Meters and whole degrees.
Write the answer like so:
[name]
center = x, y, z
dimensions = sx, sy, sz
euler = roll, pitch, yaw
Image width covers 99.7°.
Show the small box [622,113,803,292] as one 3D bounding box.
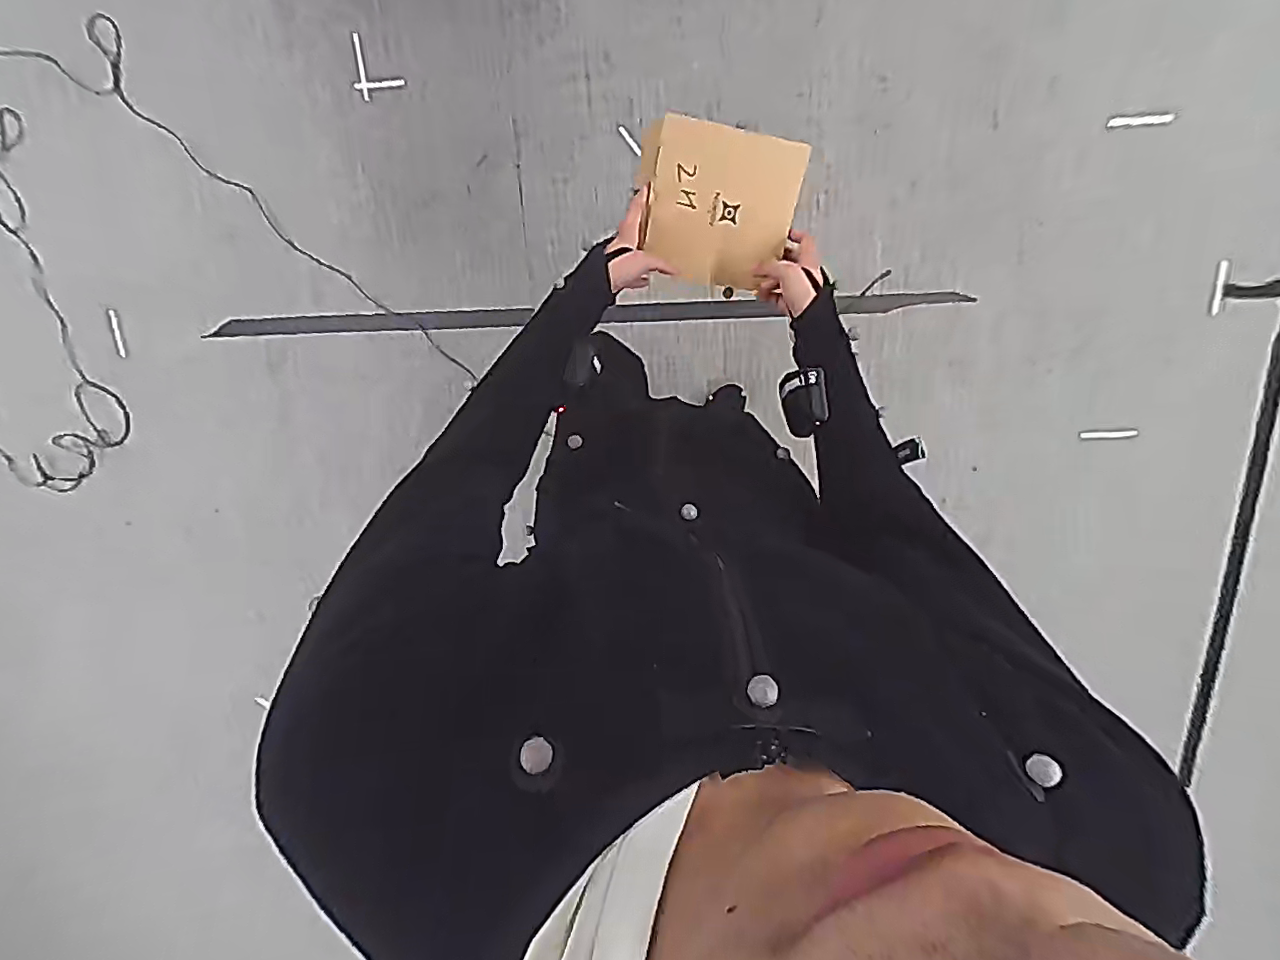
[small box]
center = 0.079, -0.353, 0.700
dimensions = 0.179, 0.176, 0.168
euler = 5, 116, -10
